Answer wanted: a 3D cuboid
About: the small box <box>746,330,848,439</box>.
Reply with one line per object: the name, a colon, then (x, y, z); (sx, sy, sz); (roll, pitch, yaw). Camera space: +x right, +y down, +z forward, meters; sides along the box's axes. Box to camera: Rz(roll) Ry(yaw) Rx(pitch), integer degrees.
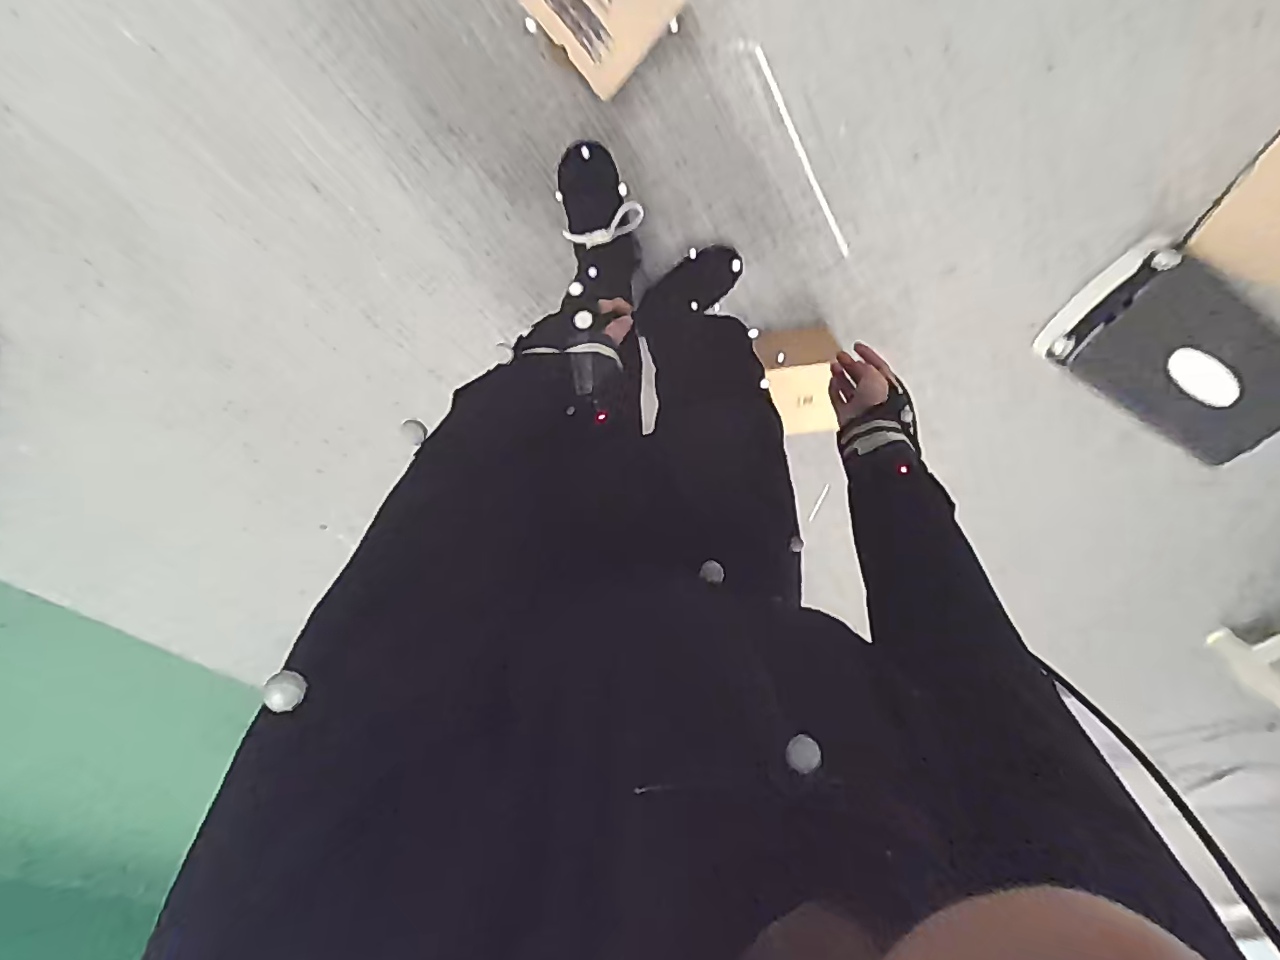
small box: (0.335, -0.213, 1.186); (0.179, 0.176, 0.168); (-7, 131, 5)
